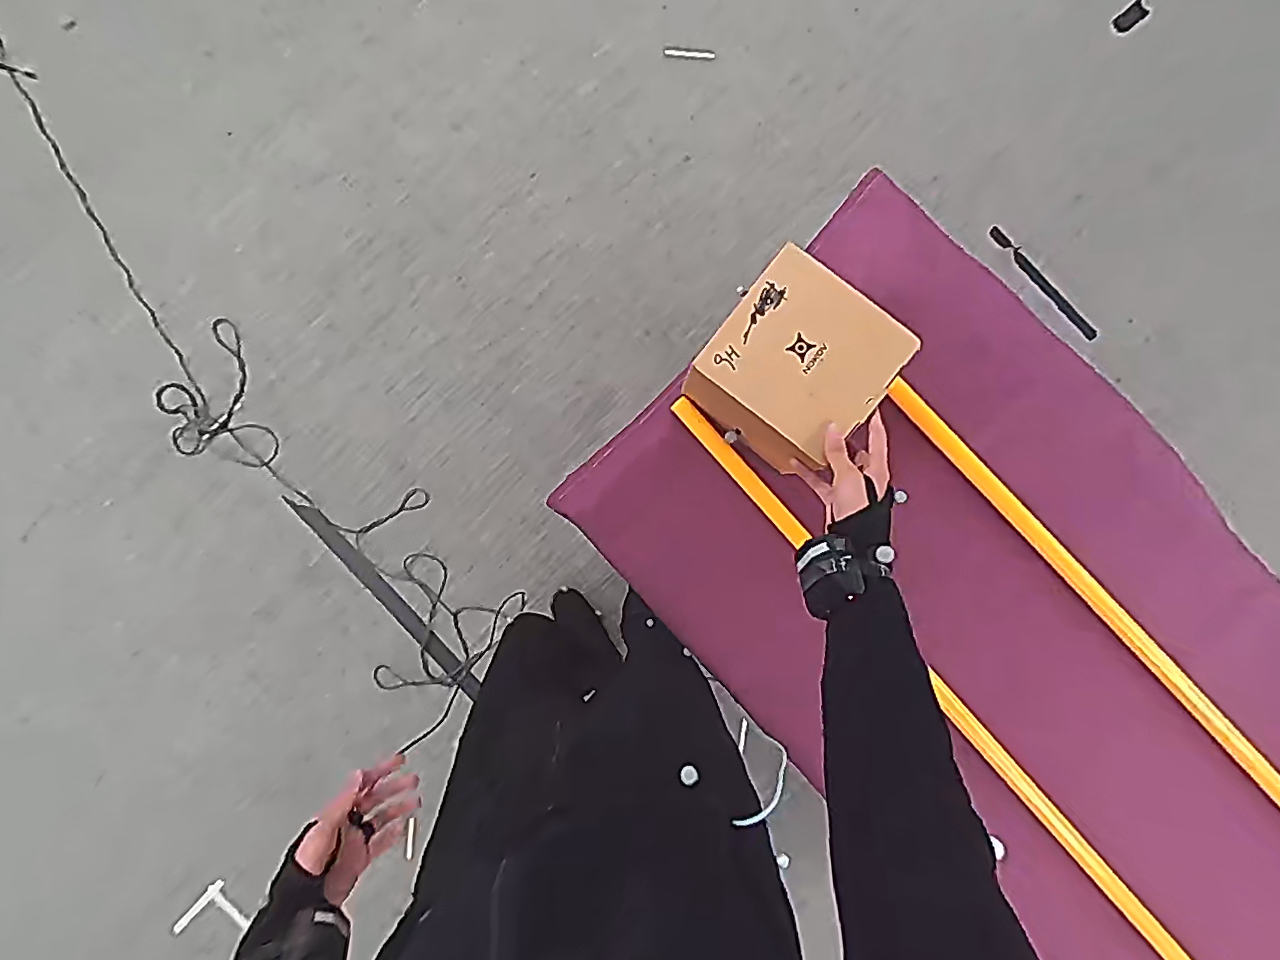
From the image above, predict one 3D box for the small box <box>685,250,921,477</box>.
[{"bbox_3d":[0.170,-0.120,0.627,0.179,0.176,0.168,39,89,1],"label":"small box"}]
